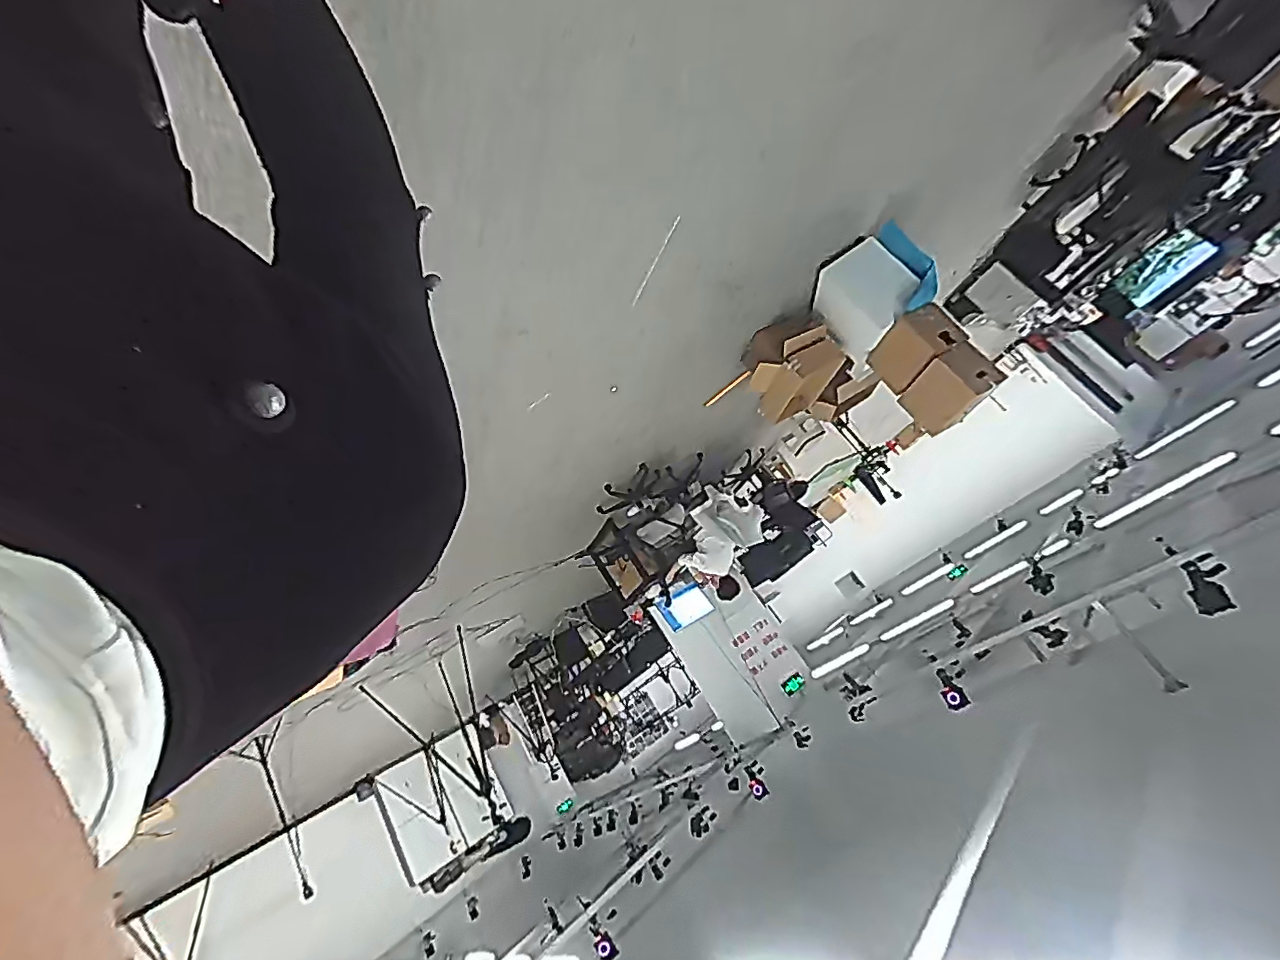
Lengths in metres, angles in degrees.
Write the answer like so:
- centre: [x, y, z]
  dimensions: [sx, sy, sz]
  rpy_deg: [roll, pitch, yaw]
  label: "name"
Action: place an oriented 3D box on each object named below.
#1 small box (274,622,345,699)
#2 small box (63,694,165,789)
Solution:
- centre: [-1.153, 0.625, 1.883]
  dimensions: [0.179, 0.176, 0.168]
  rpy_deg: [-20, 156, -39]
  label: "small box"
- centre: [-1.515, 0.750, 1.564]
  dimensions: [0.179, 0.176, 0.168]
  rpy_deg: [-16, 154, -43]
  label: "small box"
